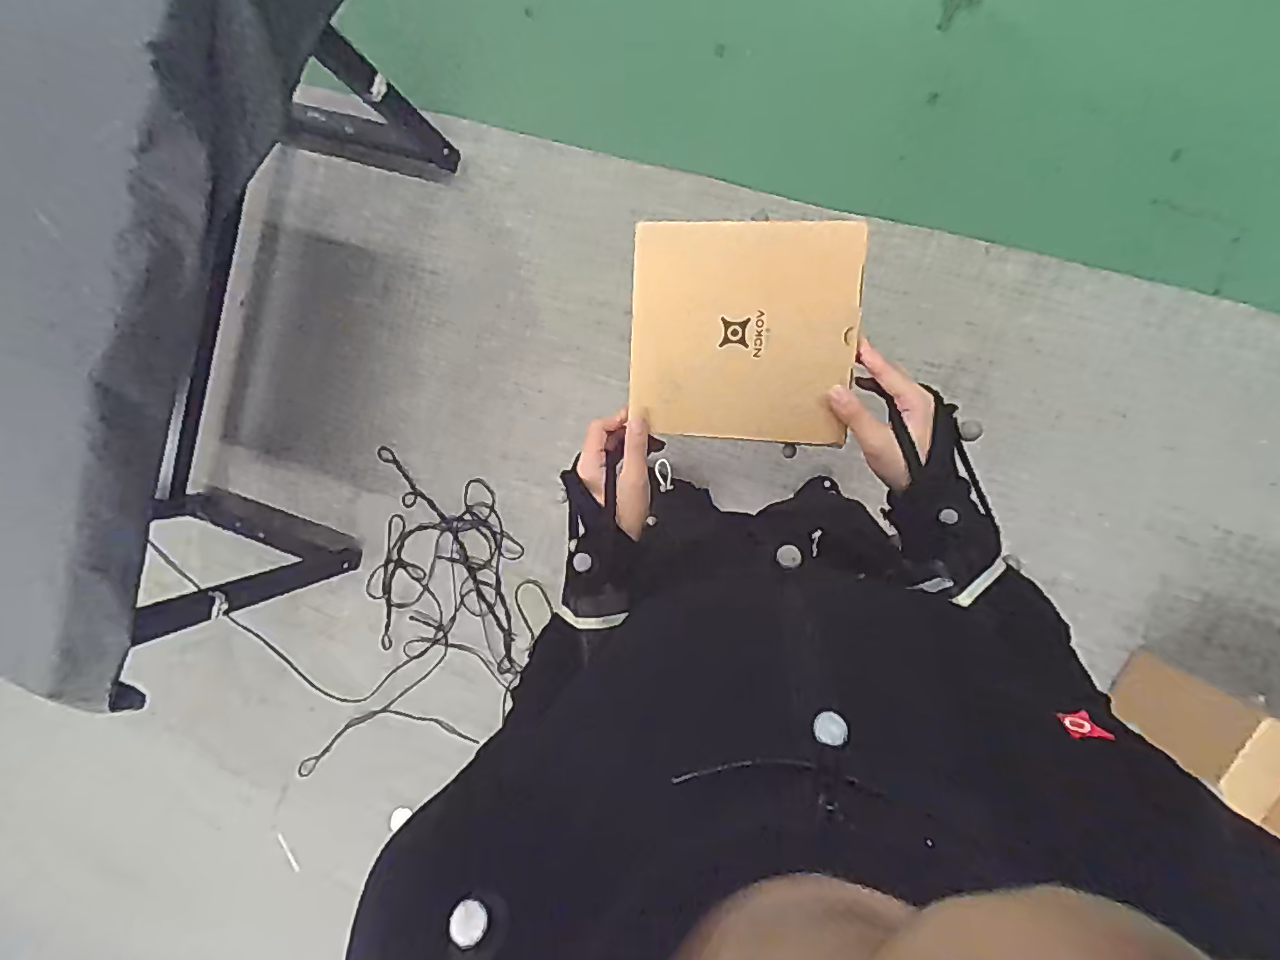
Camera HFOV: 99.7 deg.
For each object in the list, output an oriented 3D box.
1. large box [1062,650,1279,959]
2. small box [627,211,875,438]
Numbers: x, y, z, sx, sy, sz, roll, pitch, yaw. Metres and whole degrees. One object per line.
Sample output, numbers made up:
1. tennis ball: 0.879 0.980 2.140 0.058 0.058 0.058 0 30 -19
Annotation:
1. large box: 1.148 0.619 1.049 0.320 0.320 0.408 25 100 9
2. small box: 0.094 -0.130 0.491 0.179 0.176 0.168 5 100 10
